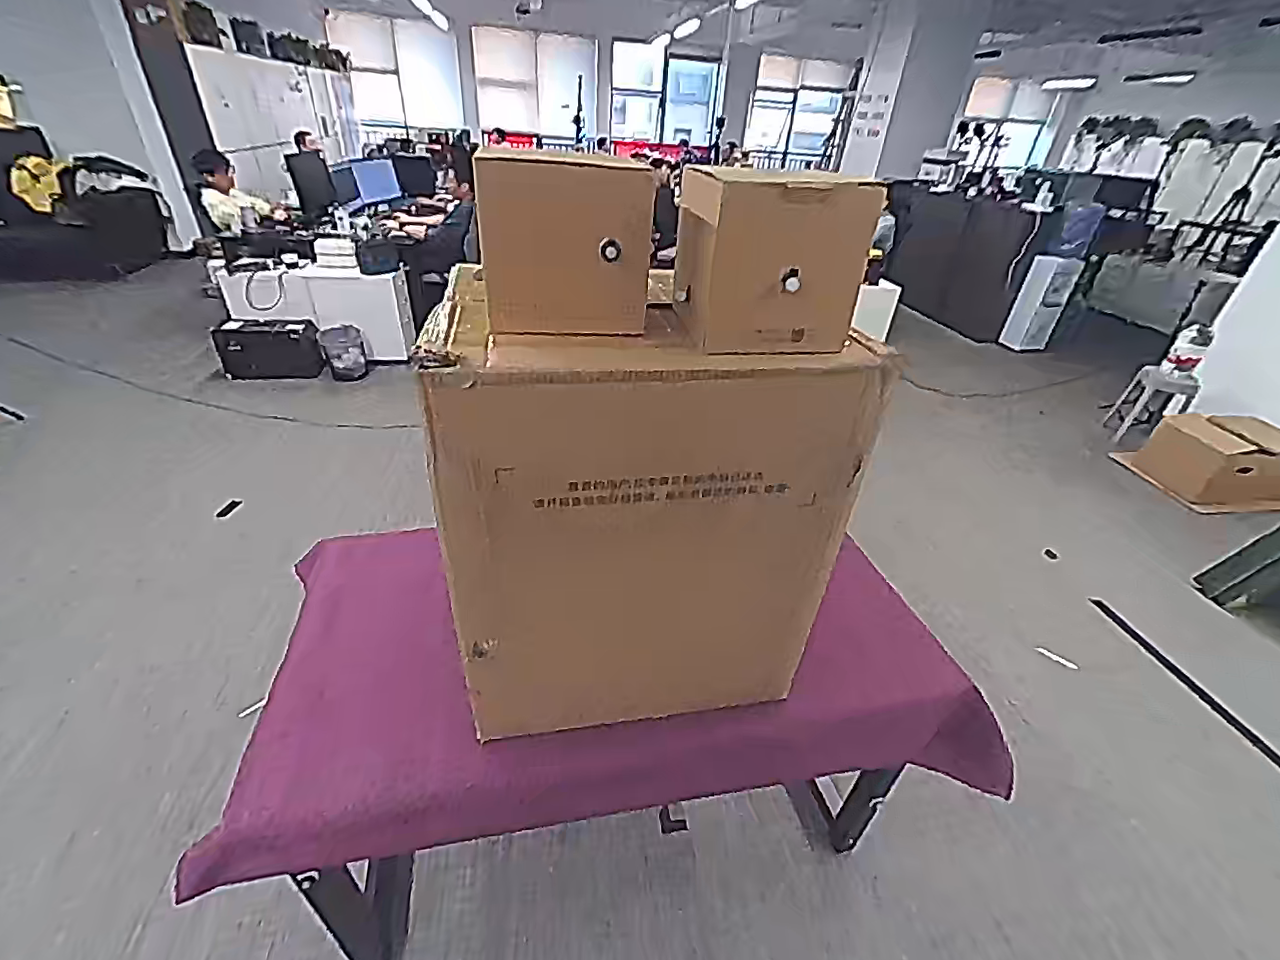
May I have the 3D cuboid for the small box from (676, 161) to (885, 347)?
[{"bbox_3d":[0.141,-0.258,0.616,0.168,0.176,0.179,-3,34,-9],"label":"small box"}]

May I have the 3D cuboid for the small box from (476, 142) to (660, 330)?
[{"bbox_3d":[-0.085,-0.277,0.616,0.179,0.176,0.168,-4,34,-11],"label":"small box"}]
